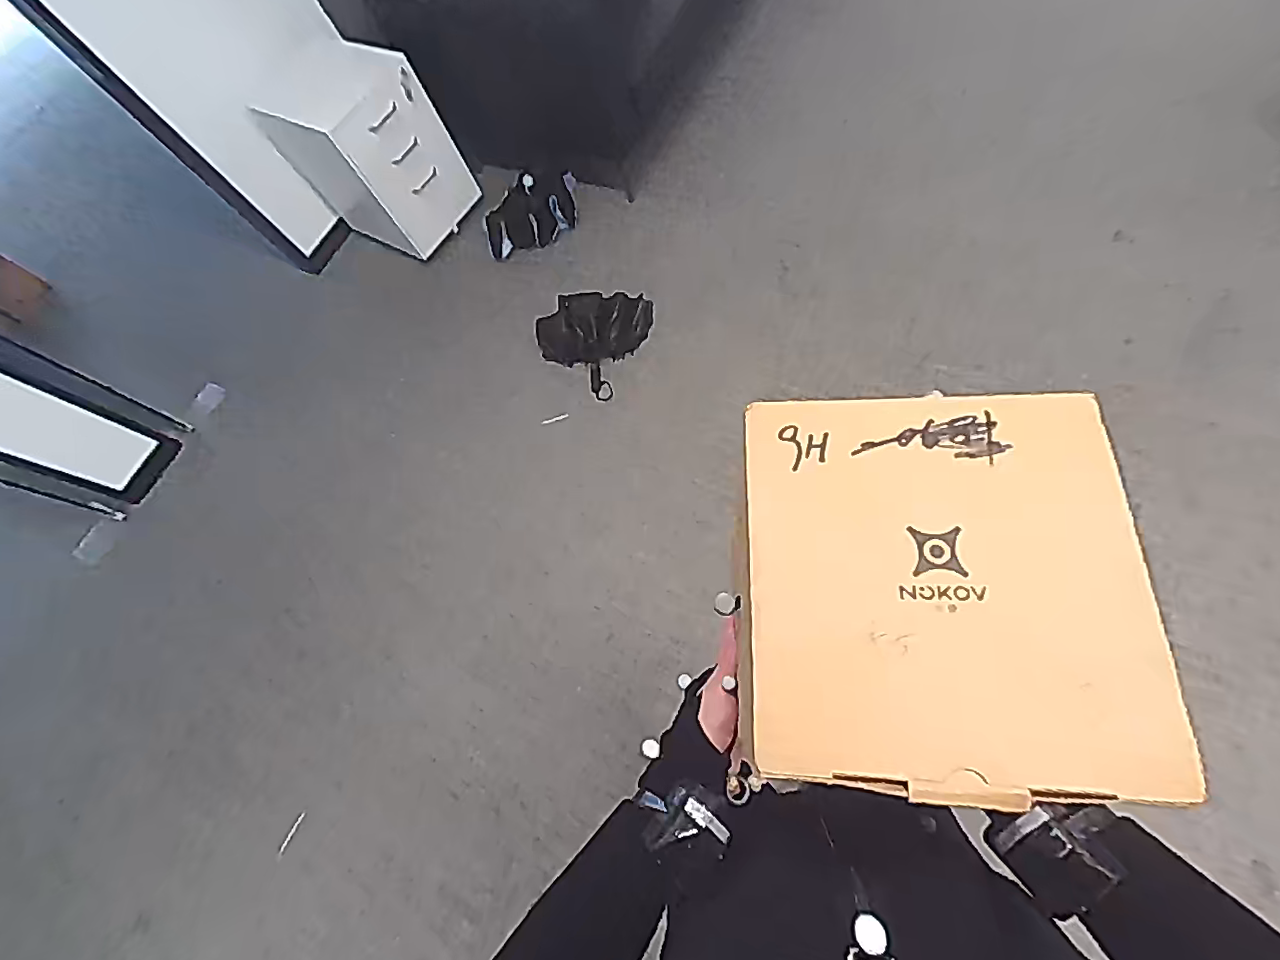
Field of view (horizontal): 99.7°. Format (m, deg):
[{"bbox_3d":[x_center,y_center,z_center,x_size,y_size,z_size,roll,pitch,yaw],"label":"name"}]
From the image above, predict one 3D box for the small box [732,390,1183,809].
[{"bbox_3d":[0.140,0.065,0.315,0.168,0.176,0.179,0,72,9],"label":"small box"}]
